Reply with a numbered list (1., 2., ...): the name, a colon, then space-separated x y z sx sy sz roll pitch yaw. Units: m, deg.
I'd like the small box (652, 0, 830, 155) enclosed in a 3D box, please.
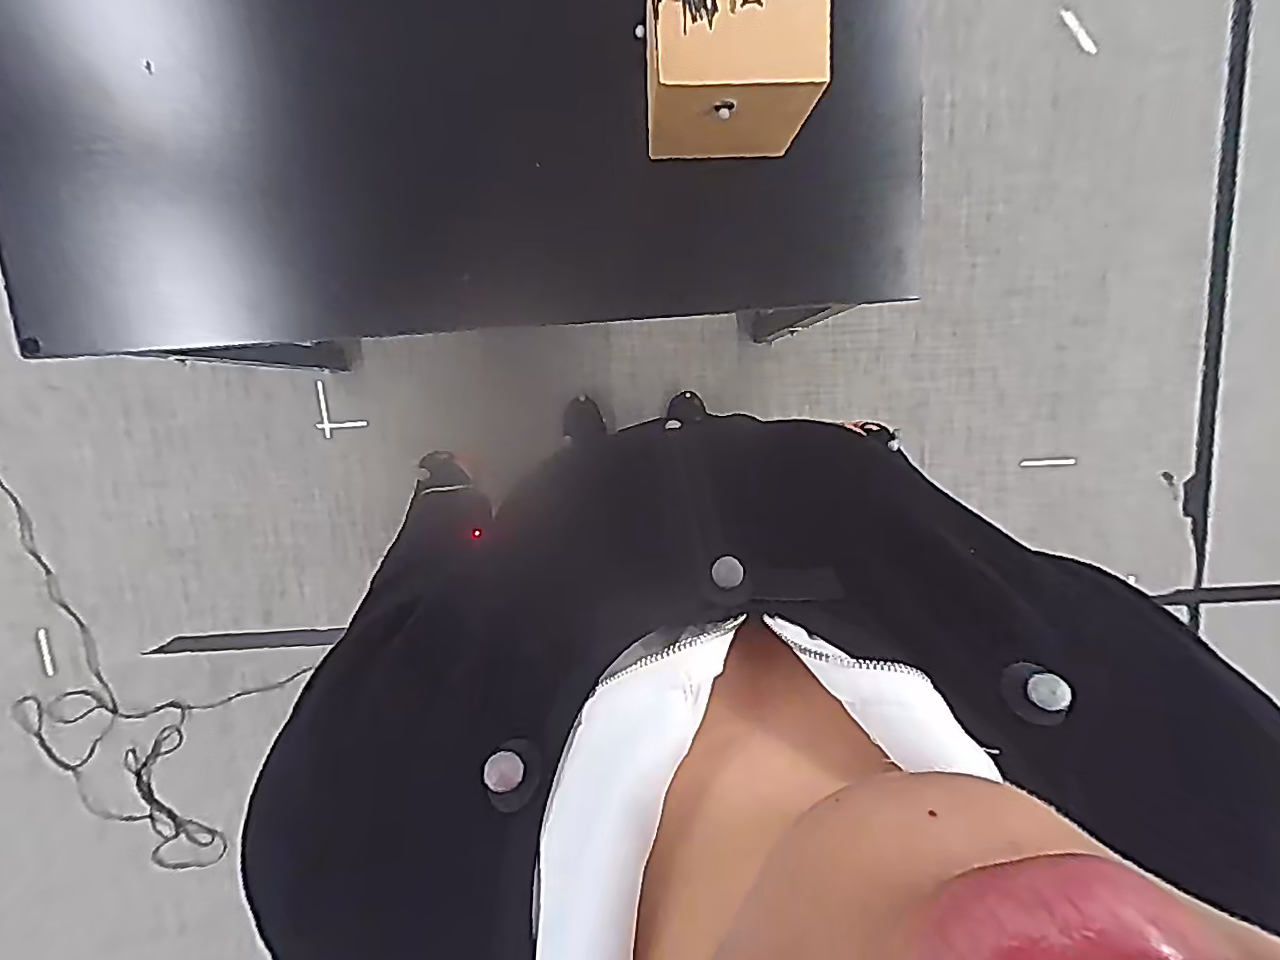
1. small box: 0.102 -0.495 0.619 0.179 0.176 0.168 -2 98 -1
